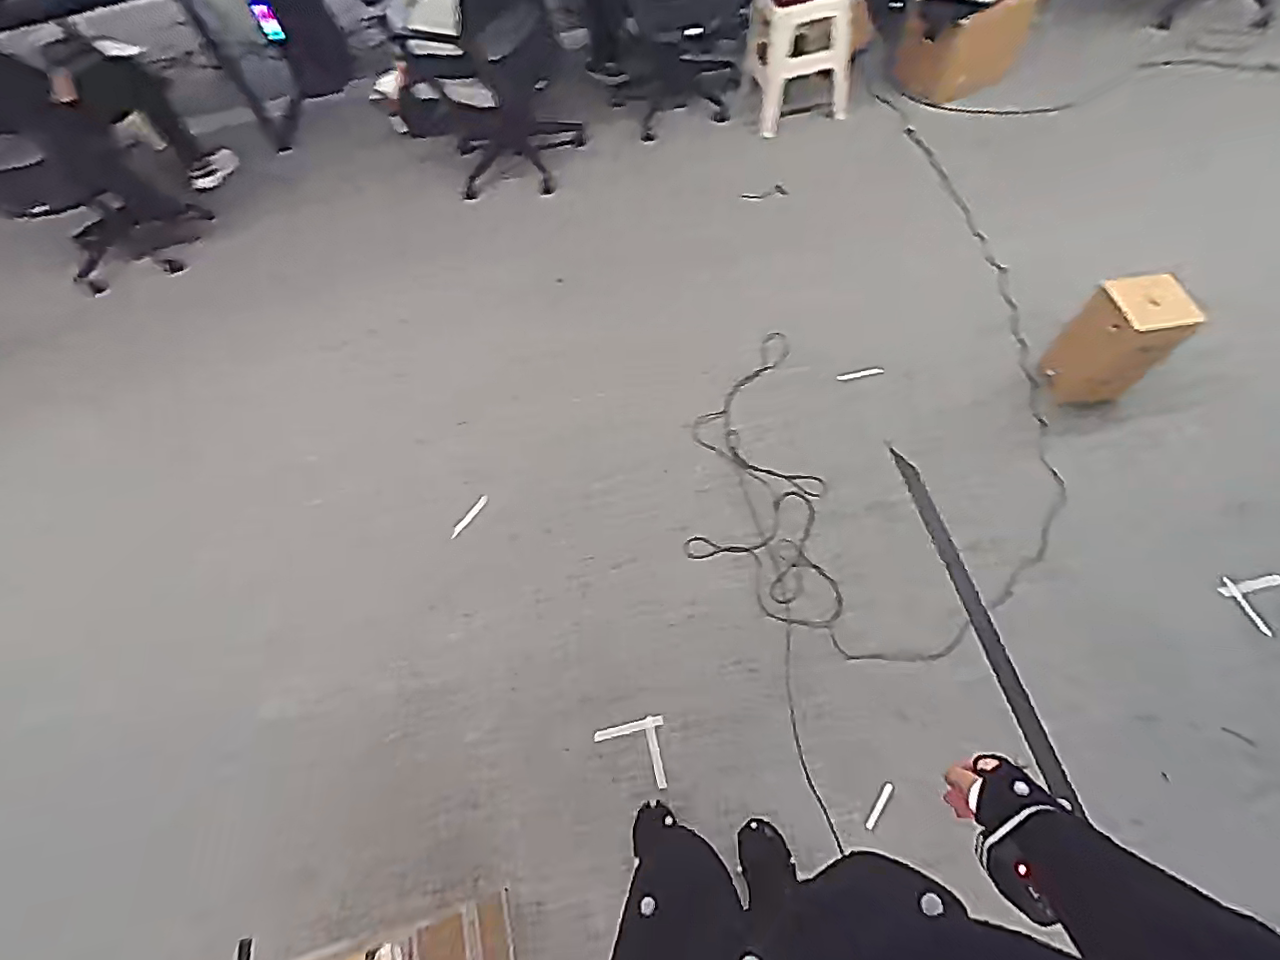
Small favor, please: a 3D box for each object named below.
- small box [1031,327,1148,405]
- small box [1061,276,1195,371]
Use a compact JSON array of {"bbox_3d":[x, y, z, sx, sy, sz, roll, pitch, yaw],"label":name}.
[{"bbox_3d":[1.304,-0.337,1.583,0.179,0.176,0.168,-6,60,5],"label":"small box"},{"bbox_3d":[1.281,-0.406,1.434,0.168,0.176,0.179,-8,60,2],"label":"small box"}]
